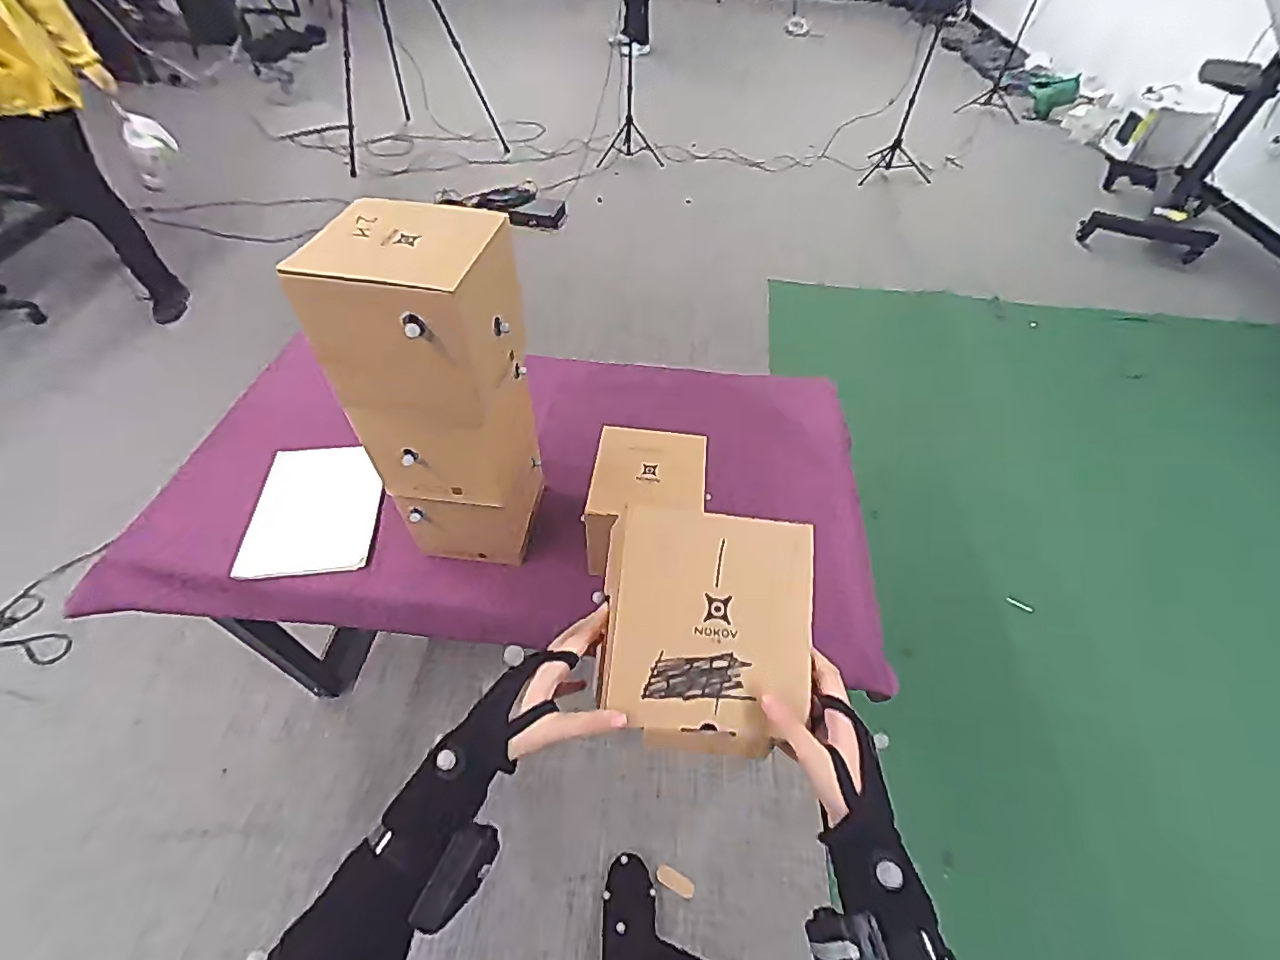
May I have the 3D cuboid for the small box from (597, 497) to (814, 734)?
[{"bbox_3d":[0.051,0.126,0.520,0.168,0.176,0.179,8,76,-6],"label":"small box"}]

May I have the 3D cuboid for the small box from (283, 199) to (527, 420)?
[{"bbox_3d":[-0.237,-0.186,0.606,0.179,0.176,0.168,8,49,4],"label":"small box"}]

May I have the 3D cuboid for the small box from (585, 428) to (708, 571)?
[{"bbox_3d":[0.012,0.044,0.855,0.168,0.176,0.179,7,49,2],"label":"small box"}]

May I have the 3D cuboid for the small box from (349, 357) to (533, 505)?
[{"bbox_3d":[-0.251,-0.085,0.737,0.168,0.176,0.179,7,49,3],"label":"small box"}]
